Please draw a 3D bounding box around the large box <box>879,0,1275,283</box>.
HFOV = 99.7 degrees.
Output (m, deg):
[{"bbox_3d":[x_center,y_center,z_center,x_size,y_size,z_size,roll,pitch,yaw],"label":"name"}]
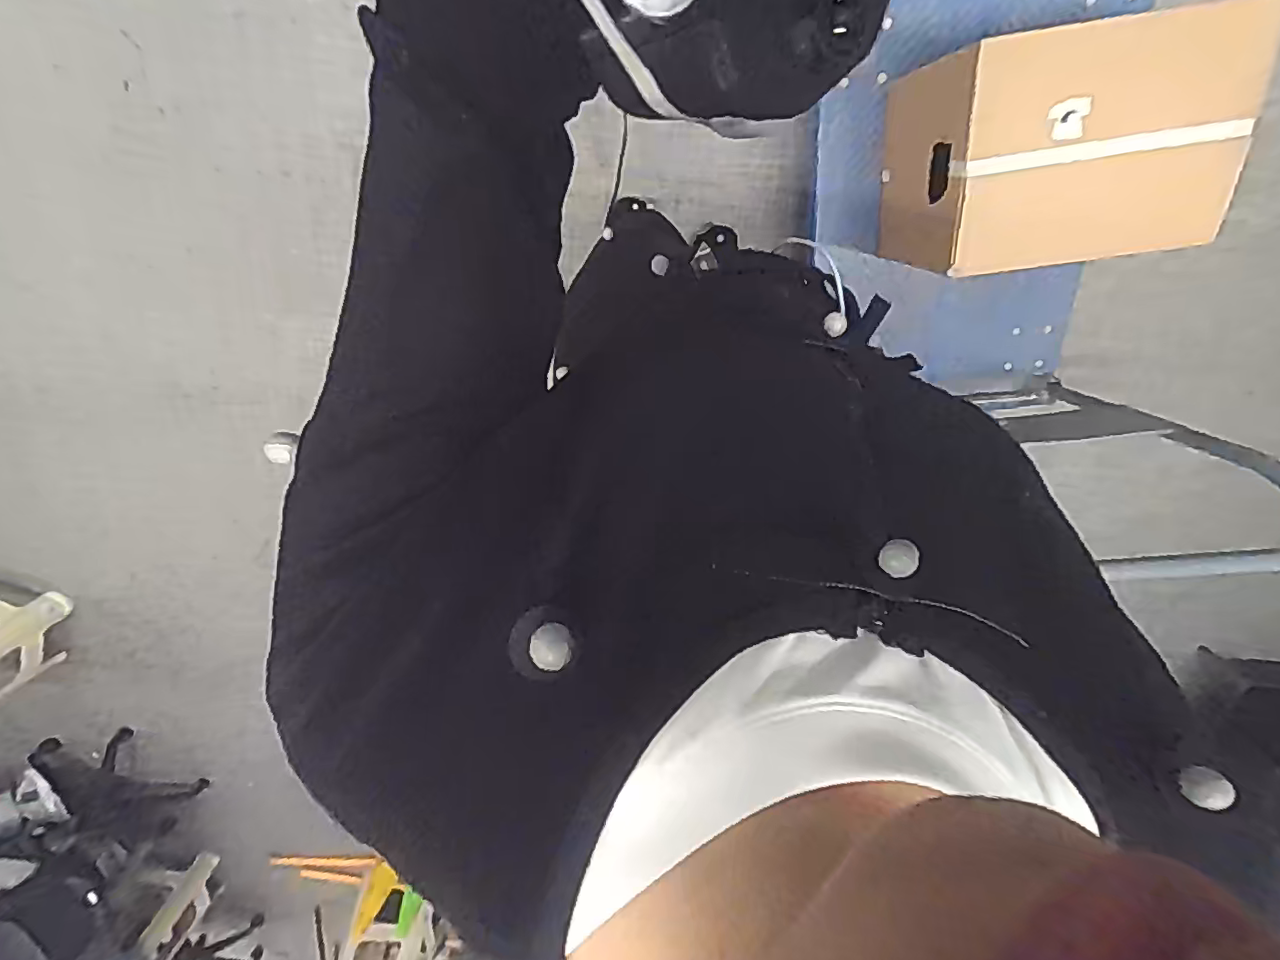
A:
[{"bbox_3d":[0.682,-0.553,0.938,0.408,0.320,0.320,-7,116,5],"label":"large box"}]
